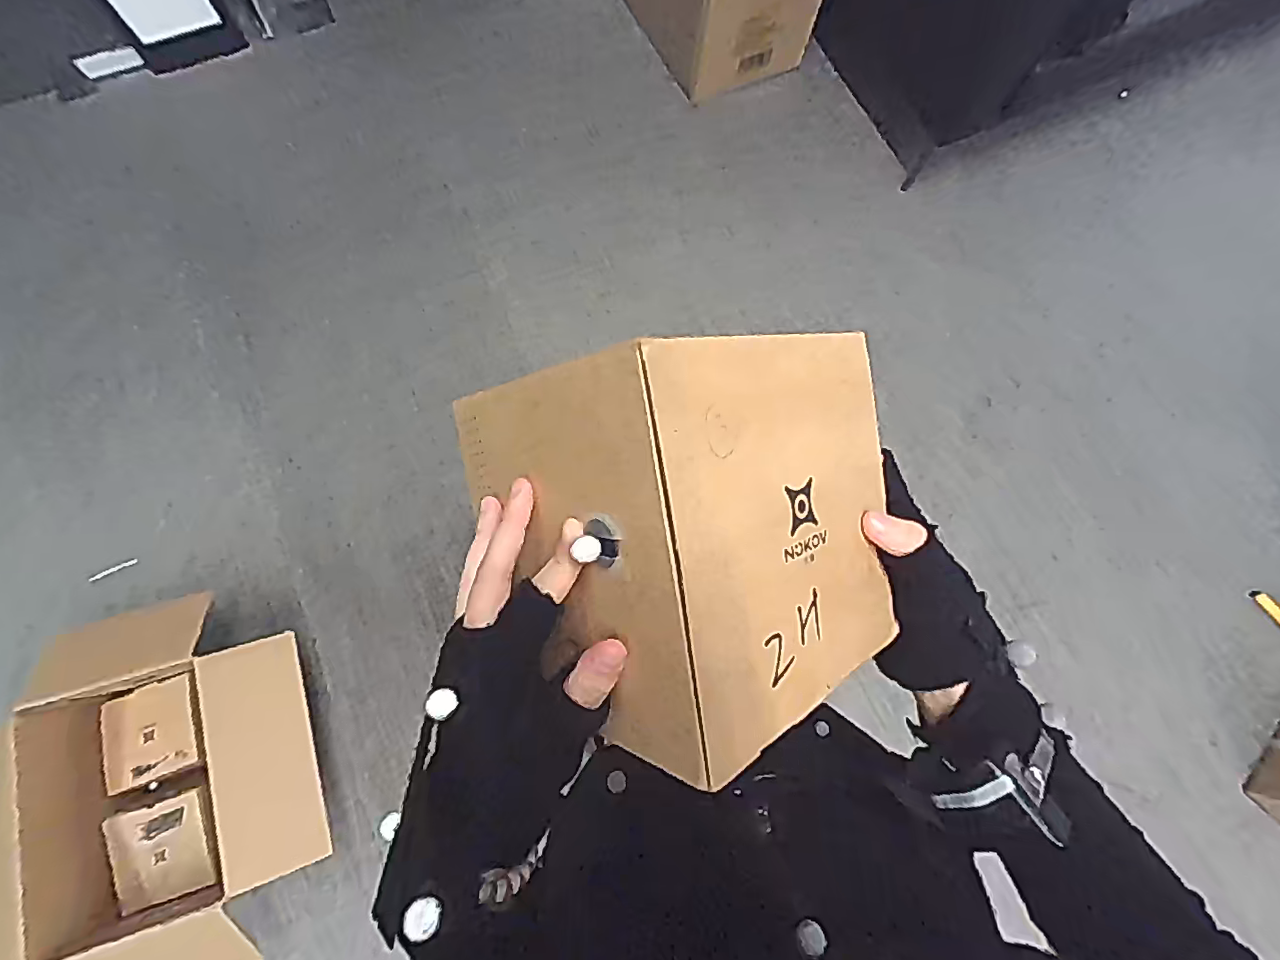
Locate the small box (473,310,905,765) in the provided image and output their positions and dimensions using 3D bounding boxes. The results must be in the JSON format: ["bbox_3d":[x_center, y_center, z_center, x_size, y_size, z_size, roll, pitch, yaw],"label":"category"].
[{"bbox_3d":[0.024,0.014,0.308,0.168,0.176,0.179,-15,98,-40],"label":"small box"}]
